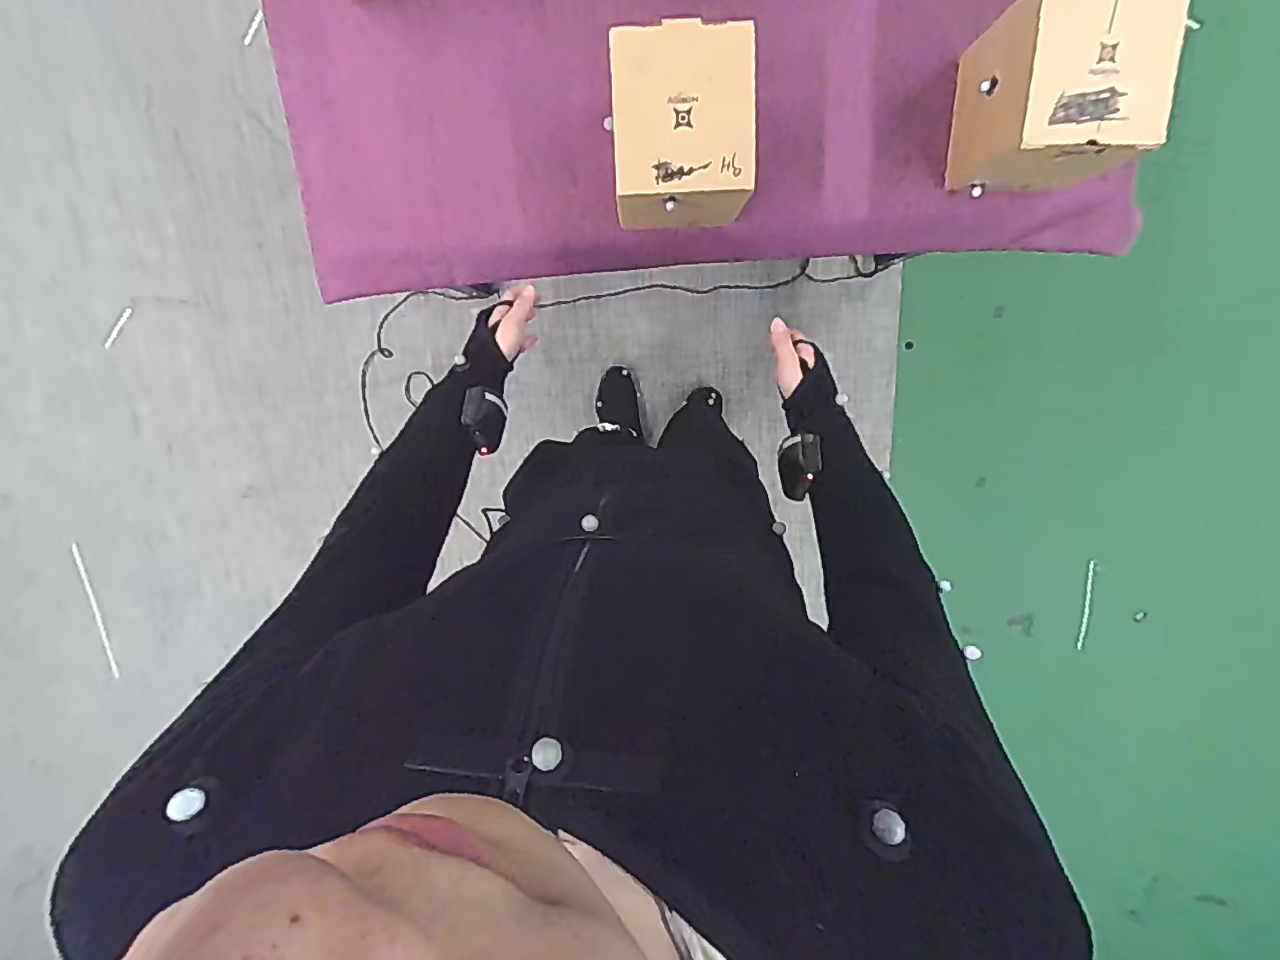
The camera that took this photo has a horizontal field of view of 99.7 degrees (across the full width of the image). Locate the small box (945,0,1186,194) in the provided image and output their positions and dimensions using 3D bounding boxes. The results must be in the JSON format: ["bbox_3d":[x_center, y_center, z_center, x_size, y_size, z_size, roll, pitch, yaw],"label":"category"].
[{"bbox_3d":[0.521,-0.482,0.692,0.168,0.176,0.179,1,102,0],"label":"small box"}]

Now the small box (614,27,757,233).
[{"bbox_3d":[0.051,-0.435,0.699,0.168,0.176,0.179,-2,102,0],"label":"small box"}]
